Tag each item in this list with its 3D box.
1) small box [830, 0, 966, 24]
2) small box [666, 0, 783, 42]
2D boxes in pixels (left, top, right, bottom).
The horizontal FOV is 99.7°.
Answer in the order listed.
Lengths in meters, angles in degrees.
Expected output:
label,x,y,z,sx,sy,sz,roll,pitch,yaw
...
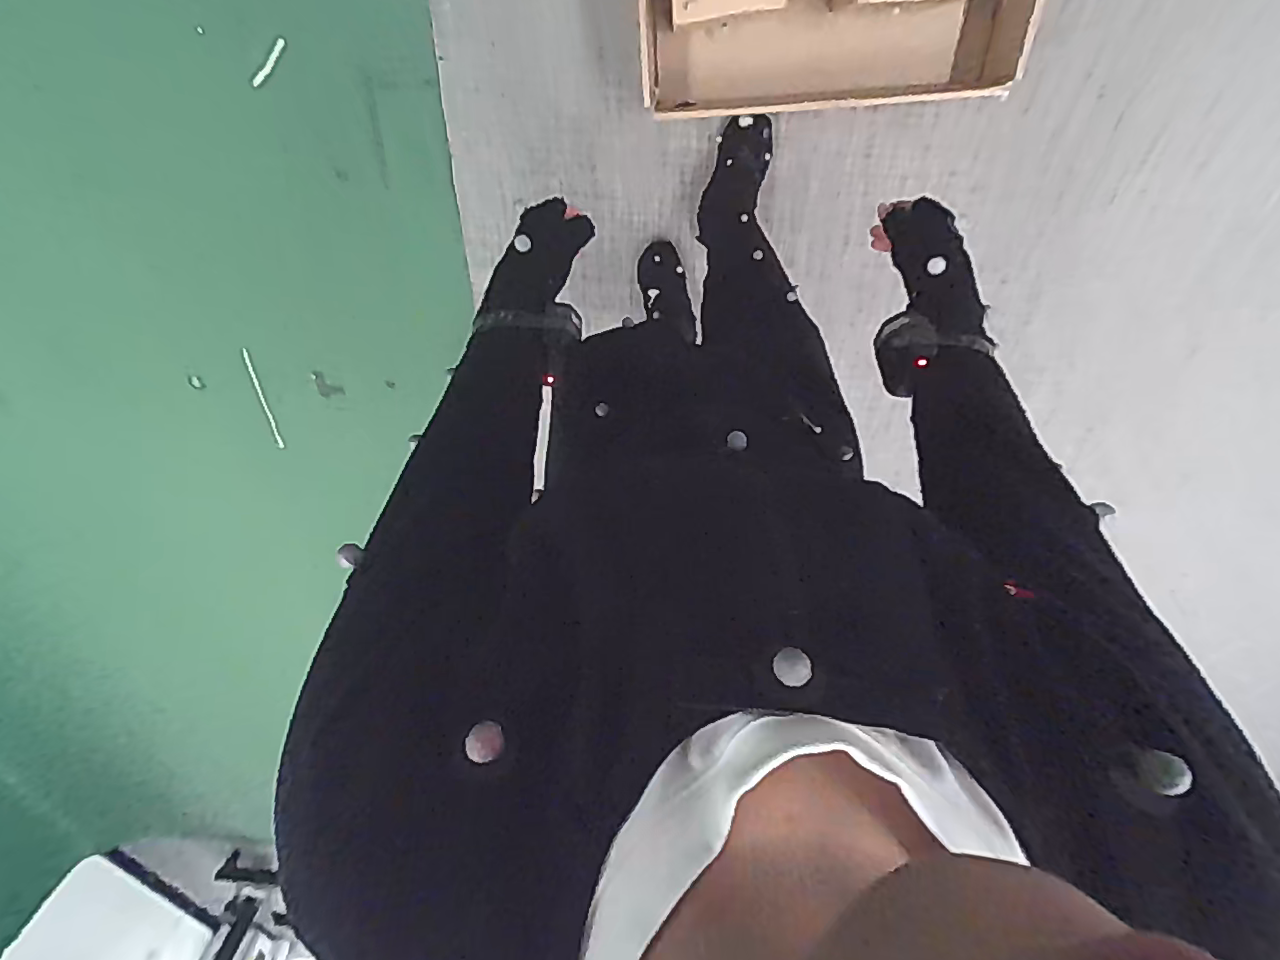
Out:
label,x,y,z,sx,sy,sz,roll,pitch,yaw
small box,0.408,-0.826,0.841,0.179,0.176,0.168,1,126,4
small box,0.128,-0.820,0.864,0.179,0.176,0.168,-4,125,5
